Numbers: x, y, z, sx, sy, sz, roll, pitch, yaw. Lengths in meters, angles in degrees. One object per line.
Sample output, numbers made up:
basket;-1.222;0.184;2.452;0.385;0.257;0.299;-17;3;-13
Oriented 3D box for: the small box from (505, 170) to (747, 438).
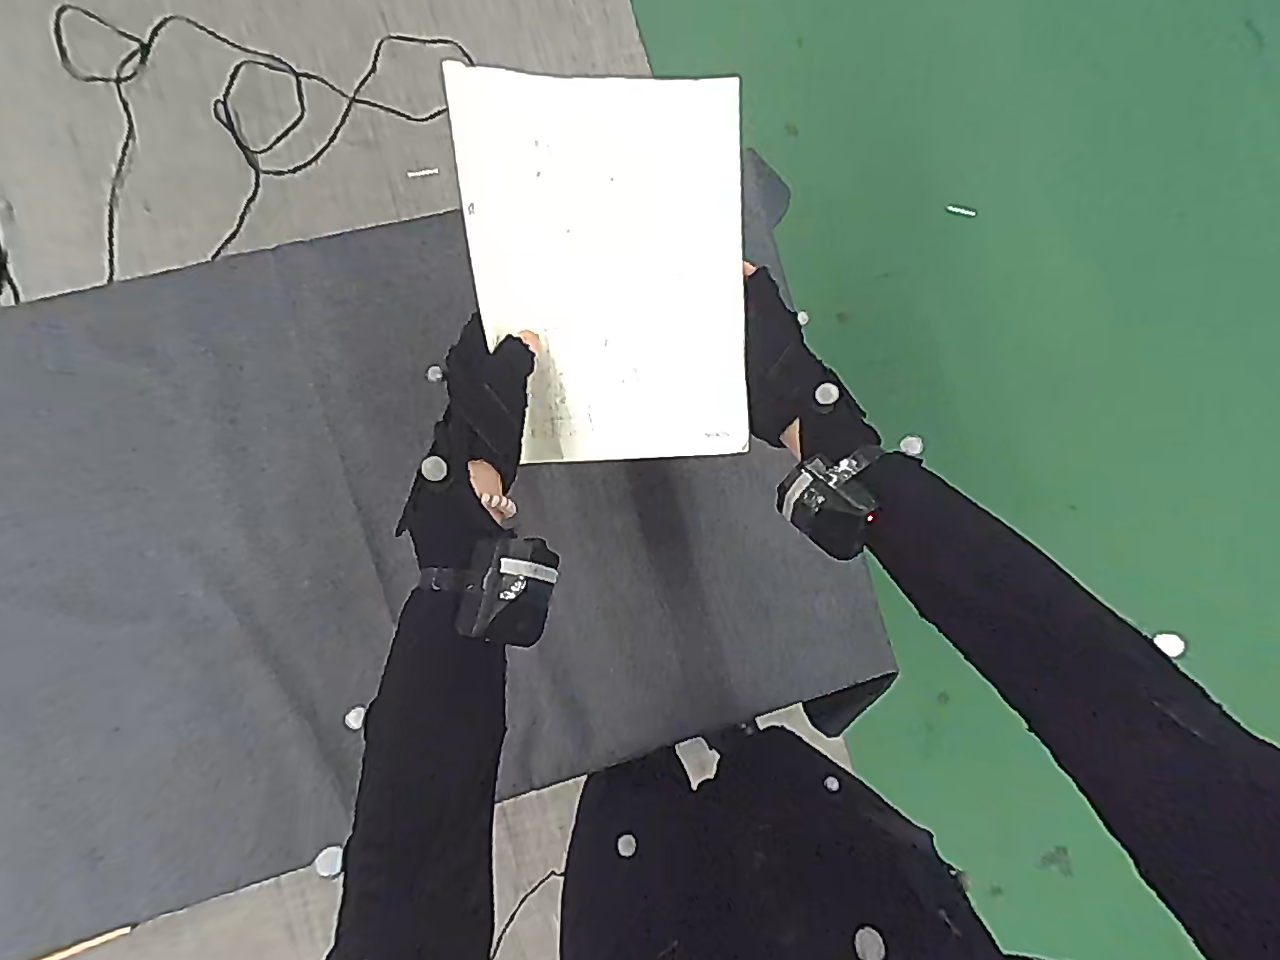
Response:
small box;-0.018;-0.146;0.504;0.168;0.176;0.179;-12;90;-5
